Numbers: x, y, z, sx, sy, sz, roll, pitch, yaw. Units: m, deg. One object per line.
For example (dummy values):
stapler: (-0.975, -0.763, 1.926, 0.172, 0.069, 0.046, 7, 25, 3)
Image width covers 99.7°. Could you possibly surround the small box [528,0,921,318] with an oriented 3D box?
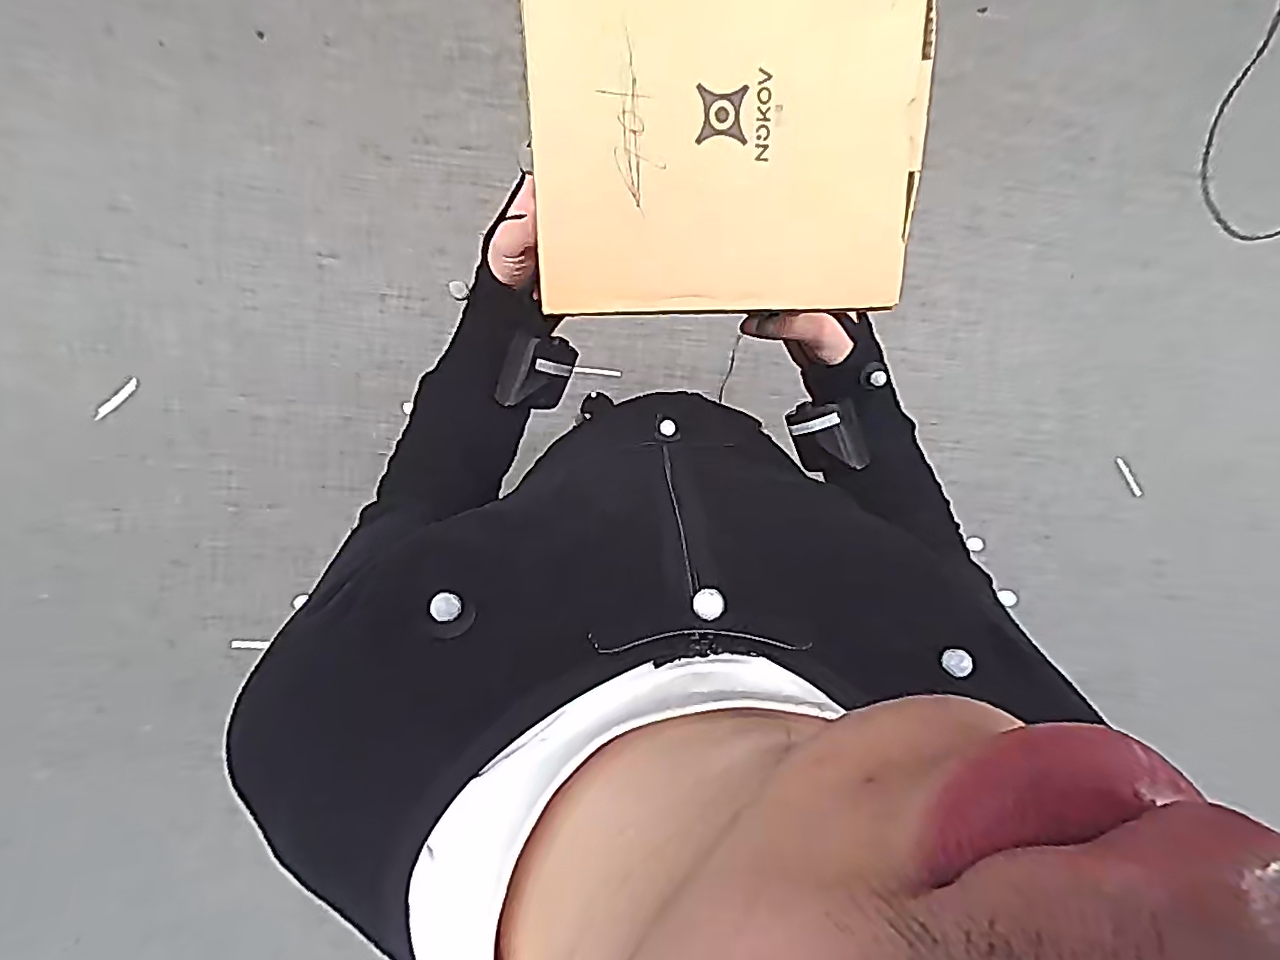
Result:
small box: (0.033, -0.186, 0.324, 0.179, 0.176, 0.168, -3, 106, -4)
